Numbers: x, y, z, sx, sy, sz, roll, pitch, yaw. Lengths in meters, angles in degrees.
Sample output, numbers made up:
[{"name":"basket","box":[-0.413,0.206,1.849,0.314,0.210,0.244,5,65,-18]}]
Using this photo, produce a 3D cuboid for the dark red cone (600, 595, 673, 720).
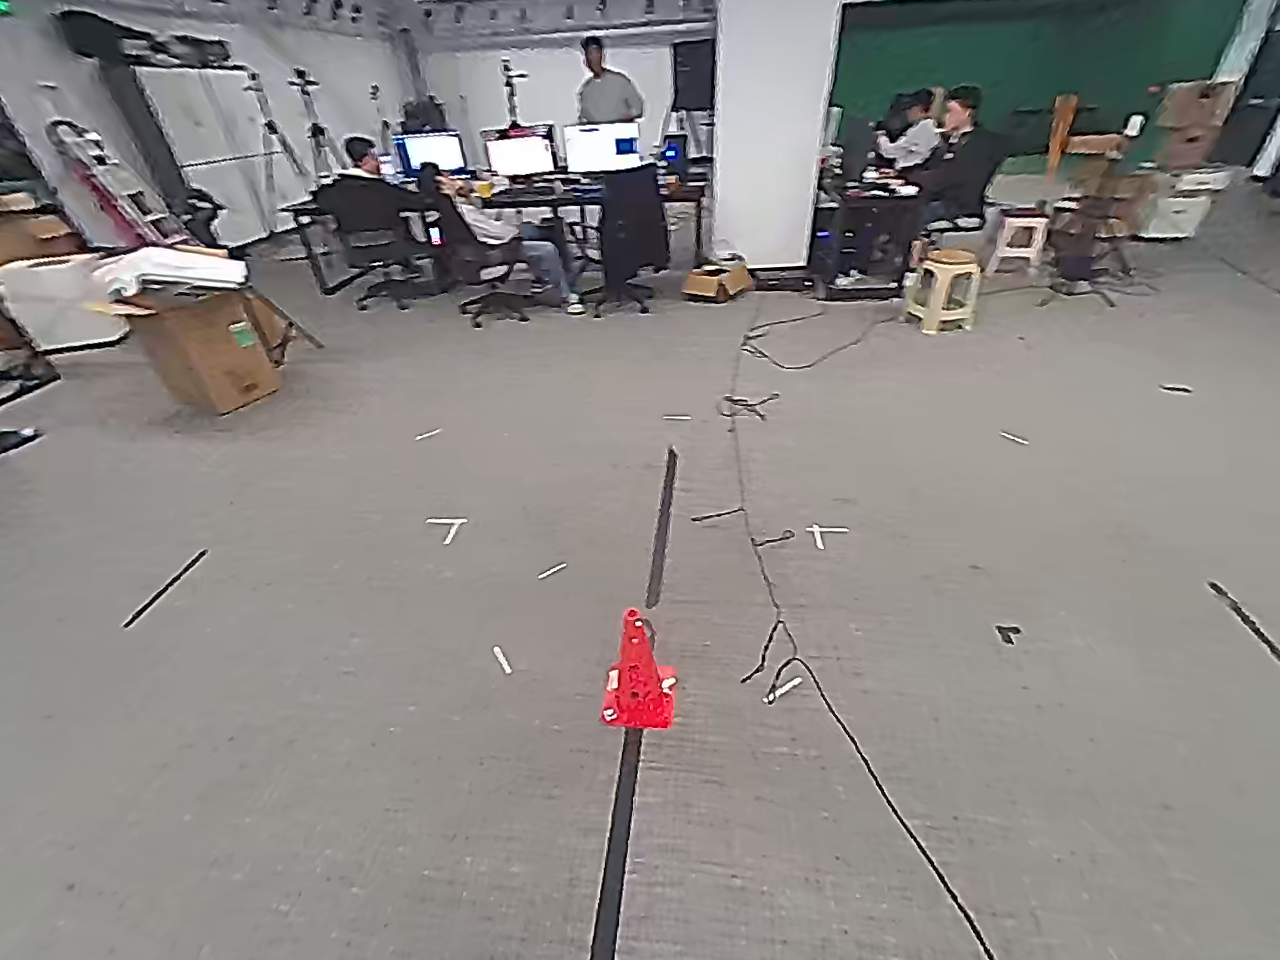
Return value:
[{"name":"dark red cone","box":[-0.012,0.462,1.462,0.201,0.394,0.202,2,36,6]}]
